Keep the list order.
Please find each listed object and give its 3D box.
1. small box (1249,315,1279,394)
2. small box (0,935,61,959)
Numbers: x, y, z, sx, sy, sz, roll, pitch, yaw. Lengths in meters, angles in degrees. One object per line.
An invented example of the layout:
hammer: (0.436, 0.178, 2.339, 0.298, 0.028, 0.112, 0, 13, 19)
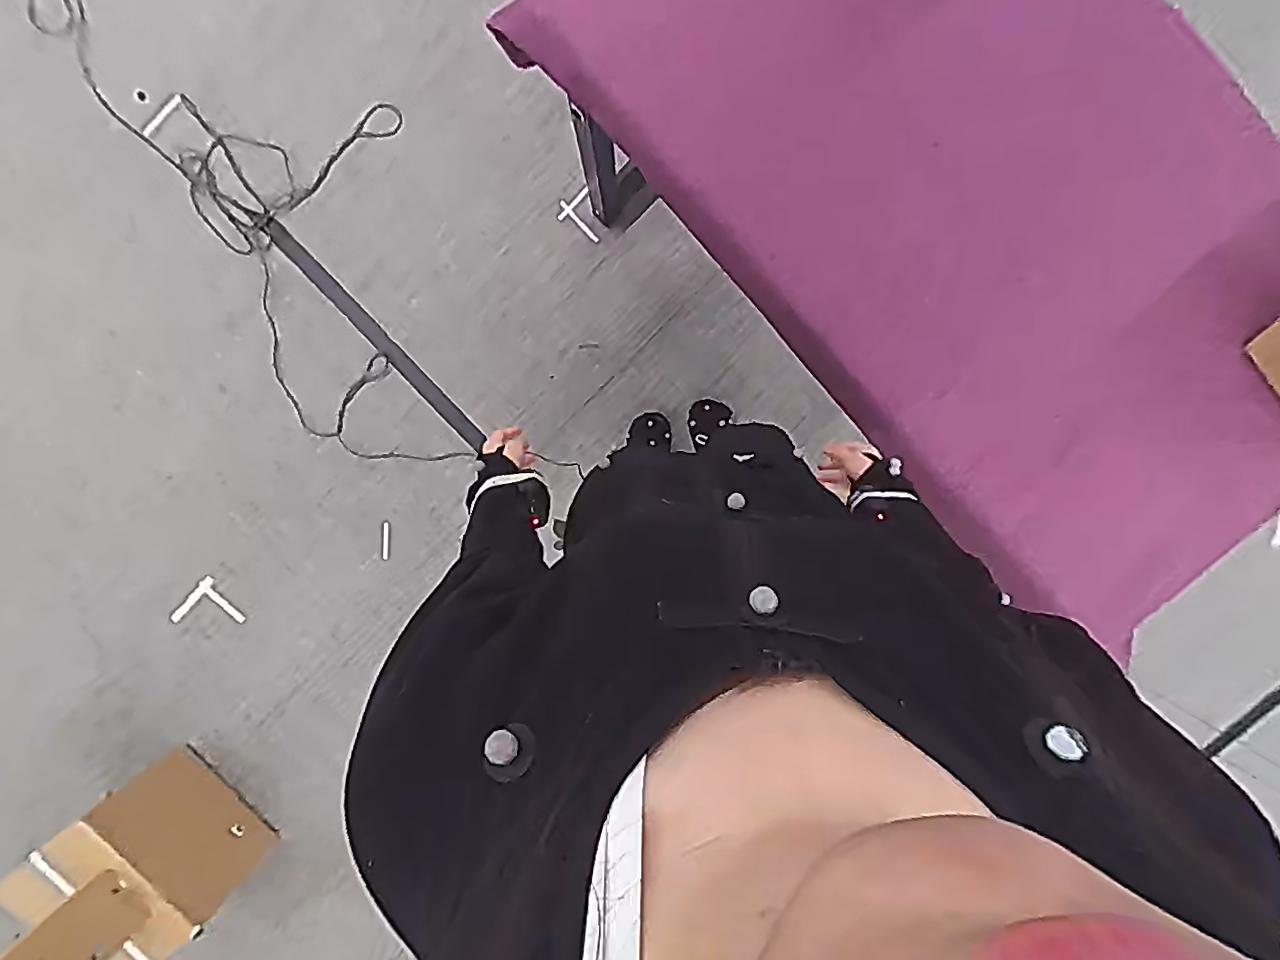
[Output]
small box: (0.950, -0.172, 0.673, 0.168, 0.176, 0.179, -42, 97, 5)
small box: (-1.300, 1.077, 1.079, 0.179, 0.176, 0.168, -38, 96, 4)
